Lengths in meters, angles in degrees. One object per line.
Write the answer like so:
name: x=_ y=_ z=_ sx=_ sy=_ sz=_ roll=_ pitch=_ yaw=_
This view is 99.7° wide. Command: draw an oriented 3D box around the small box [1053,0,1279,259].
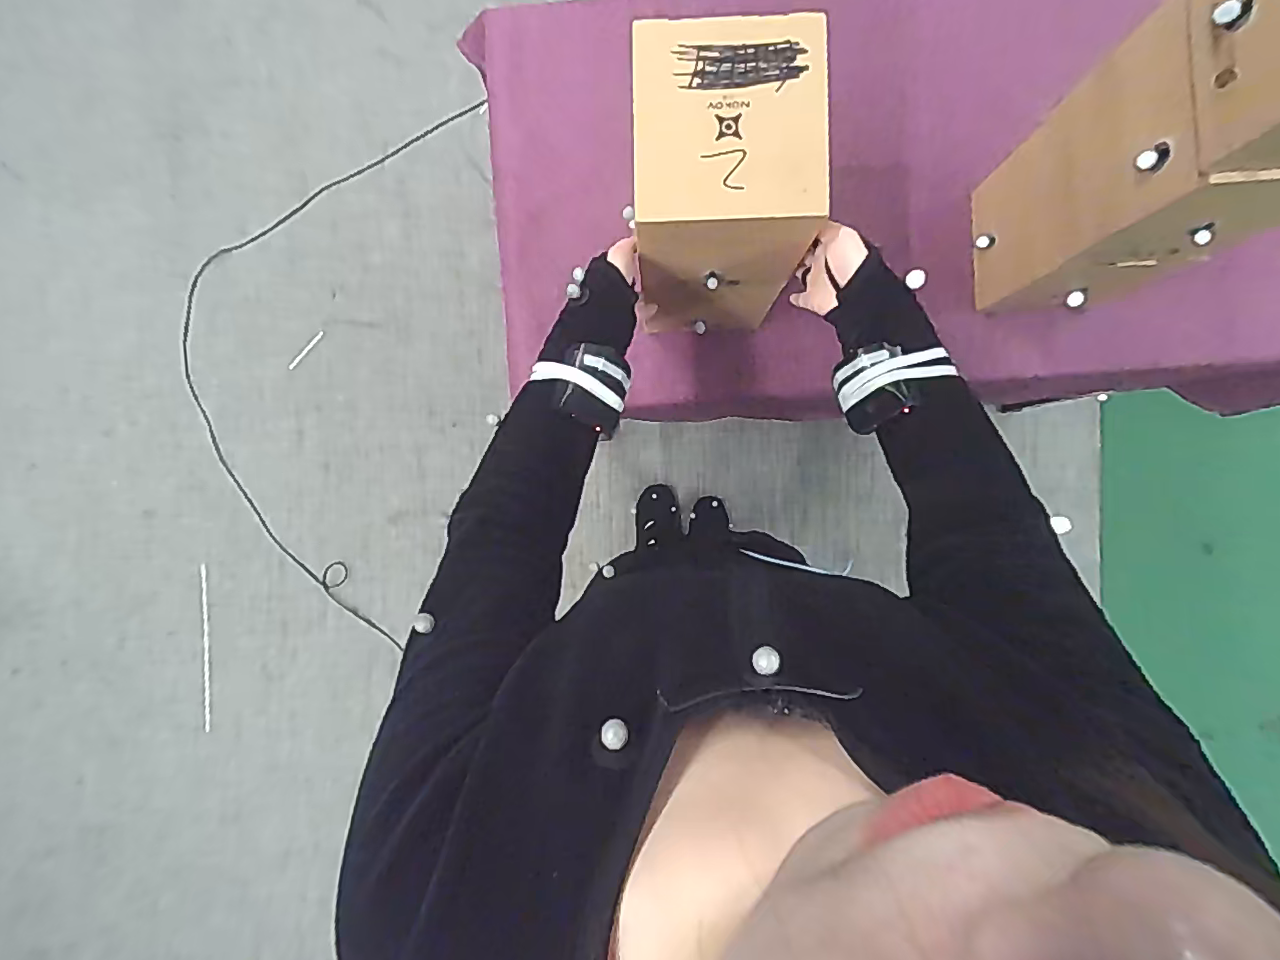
small box: x=0.540 y=-0.327 z=0.520 sx=0.168 sy=0.176 sz=0.179 roll=-3 pitch=89 yaw=2

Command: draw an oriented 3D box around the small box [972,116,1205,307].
small box: x=0.550 y=-0.327 z=0.685 sx=0.168 sy=0.176 sz=0.179 roll=-2 pitch=90 yaw=2

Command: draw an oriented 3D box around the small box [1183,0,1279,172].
small box: x=0.529 y=-0.333 z=0.357 sx=0.179 sy=0.176 sz=0.168 roll=-3 pitch=88 yaw=3

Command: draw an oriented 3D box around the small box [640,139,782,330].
small box: x=0.084 y=-0.305 z=0.703 sx=0.168 sy=0.176 sz=0.179 roll=-1 pitch=91 yaw=2
